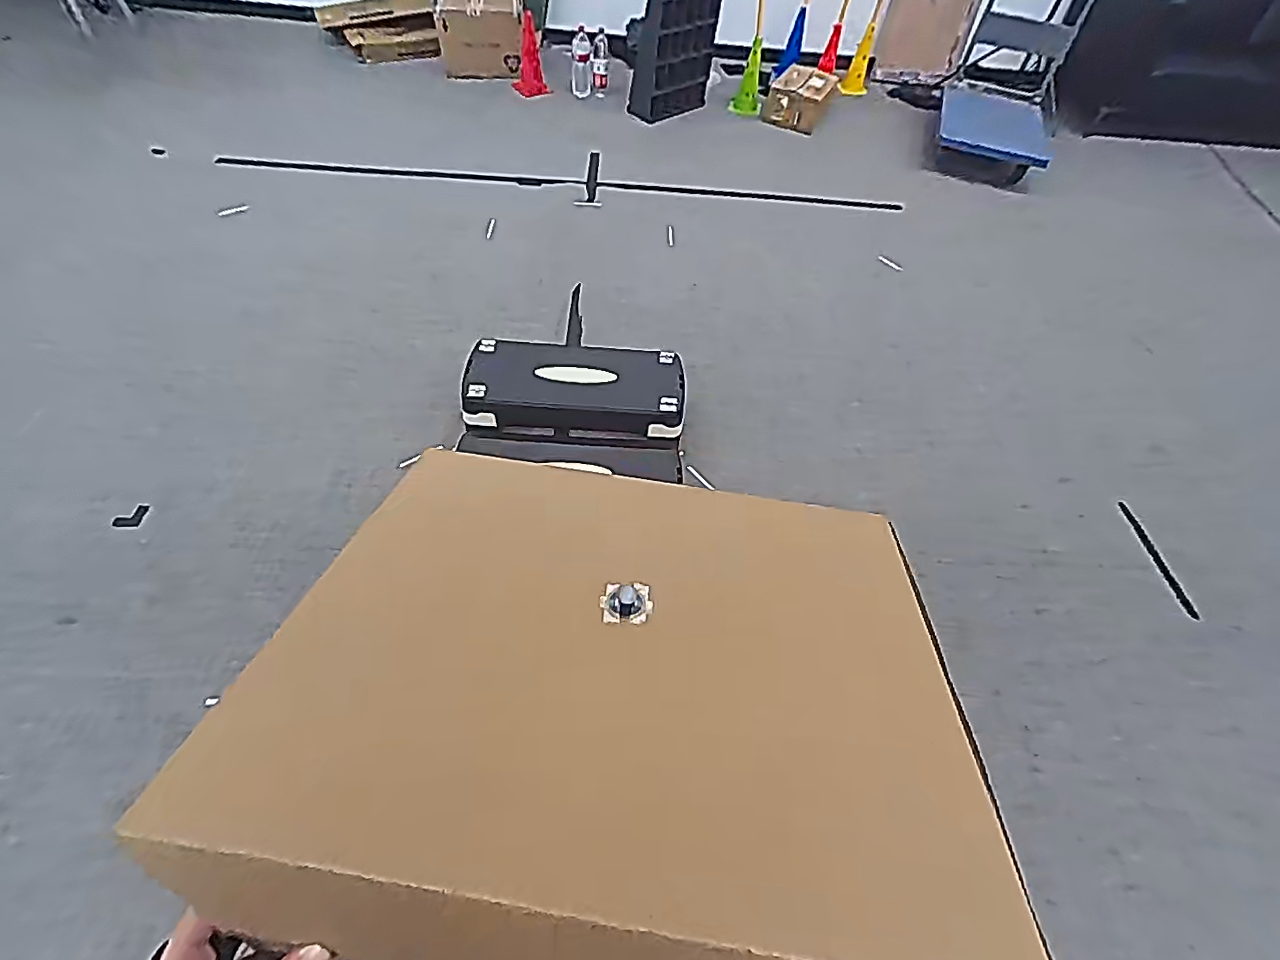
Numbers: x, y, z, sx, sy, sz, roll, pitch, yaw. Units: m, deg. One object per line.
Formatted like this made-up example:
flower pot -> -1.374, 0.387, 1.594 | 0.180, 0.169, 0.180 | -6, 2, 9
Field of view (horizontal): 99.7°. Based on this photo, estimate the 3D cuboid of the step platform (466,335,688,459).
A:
step platform -> -0.190, -0.265, 1.713 | 0.684, 0.204, 0.286 | 8, 55, -1

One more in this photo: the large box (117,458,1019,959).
large box -> -0.034, 0.203, 0.437 | 0.408, 0.320, 0.320 | 6, 38, 3
